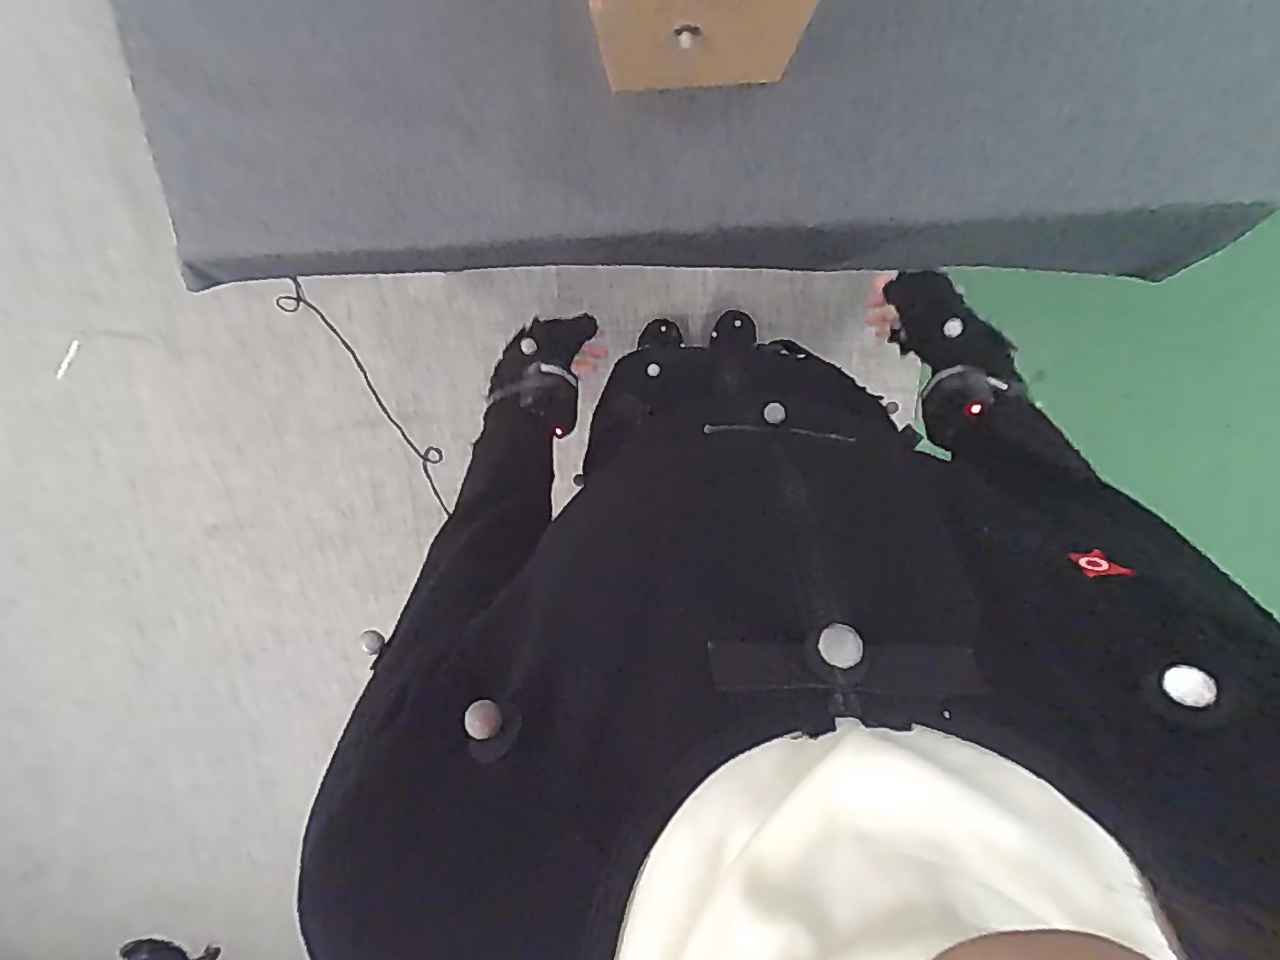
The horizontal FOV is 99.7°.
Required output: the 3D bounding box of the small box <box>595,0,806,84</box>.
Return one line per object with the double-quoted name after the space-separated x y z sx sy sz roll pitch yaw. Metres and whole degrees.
0.053 -0.468 0.464 0.179 0.176 0.168 -1 108 3 "small box"
